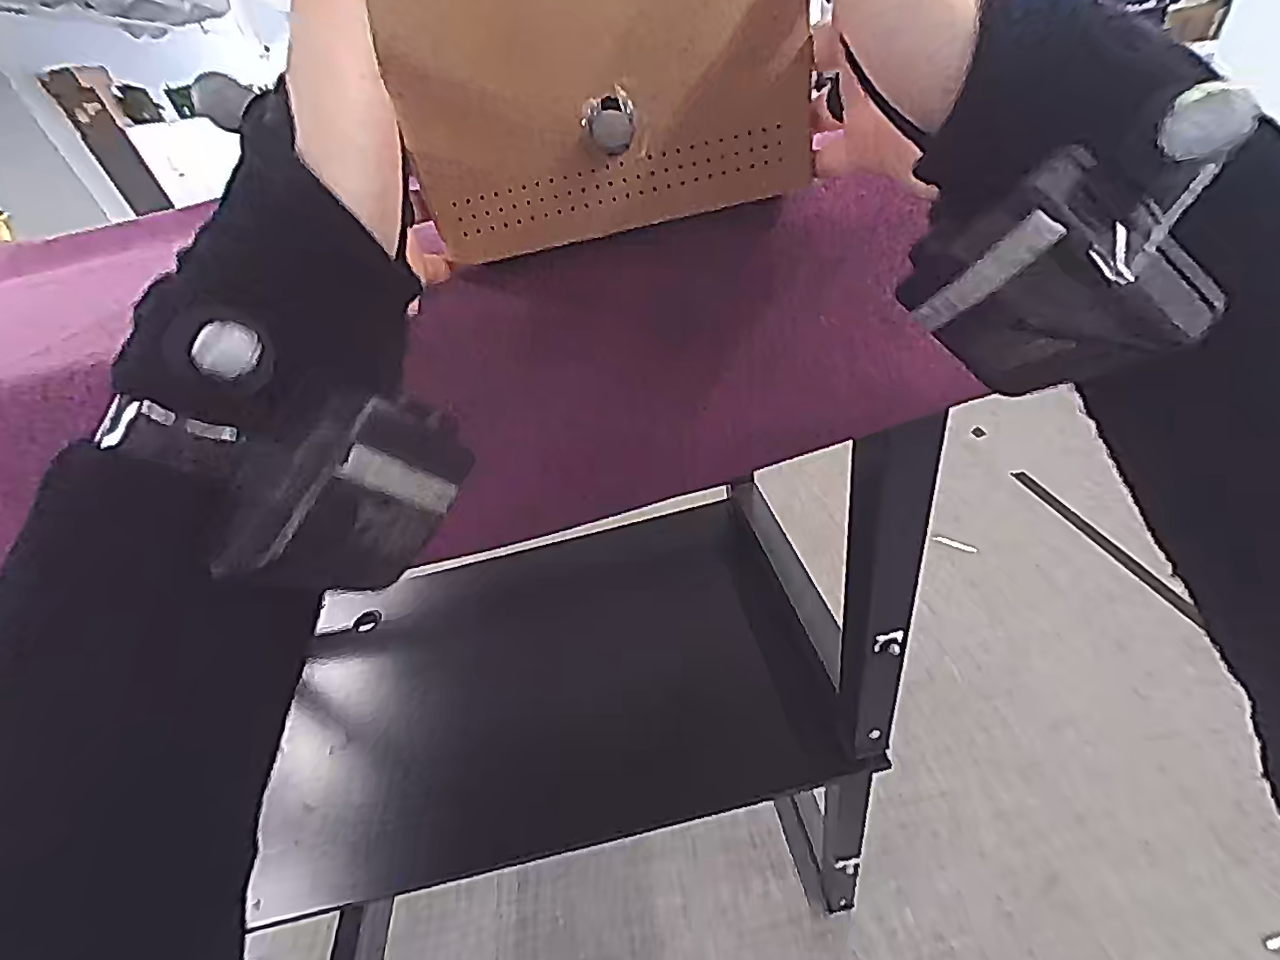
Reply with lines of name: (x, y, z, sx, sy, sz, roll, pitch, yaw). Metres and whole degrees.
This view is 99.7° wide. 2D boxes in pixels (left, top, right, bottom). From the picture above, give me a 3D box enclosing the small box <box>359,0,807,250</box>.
small box: (-0.025, -0.231, 0.265, 0.179, 0.176, 0.168, -12, 34, 2)
